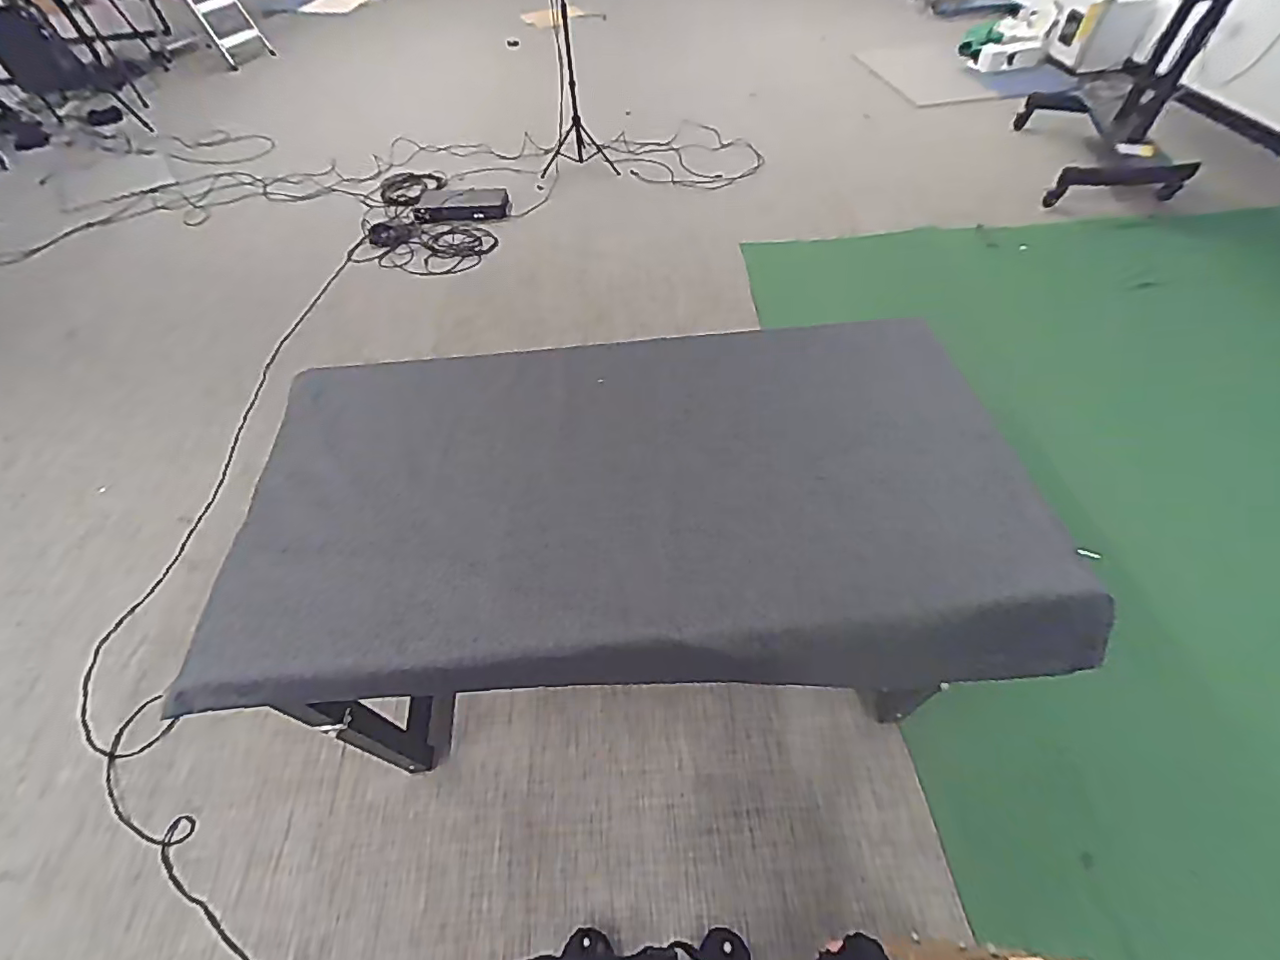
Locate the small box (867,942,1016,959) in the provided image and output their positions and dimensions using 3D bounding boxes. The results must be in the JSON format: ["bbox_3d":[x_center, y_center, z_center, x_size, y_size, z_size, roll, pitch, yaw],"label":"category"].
[{"bbox_3d":[0.475,0.821,0.827,0.179,0.176,0.168,-1,52,2],"label":"small box"}]

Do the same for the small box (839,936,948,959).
[{"bbox_3d":[0.476,0.921,0.958,0.179,0.176,0.168,-2,52,2],"label":"small box"}]
